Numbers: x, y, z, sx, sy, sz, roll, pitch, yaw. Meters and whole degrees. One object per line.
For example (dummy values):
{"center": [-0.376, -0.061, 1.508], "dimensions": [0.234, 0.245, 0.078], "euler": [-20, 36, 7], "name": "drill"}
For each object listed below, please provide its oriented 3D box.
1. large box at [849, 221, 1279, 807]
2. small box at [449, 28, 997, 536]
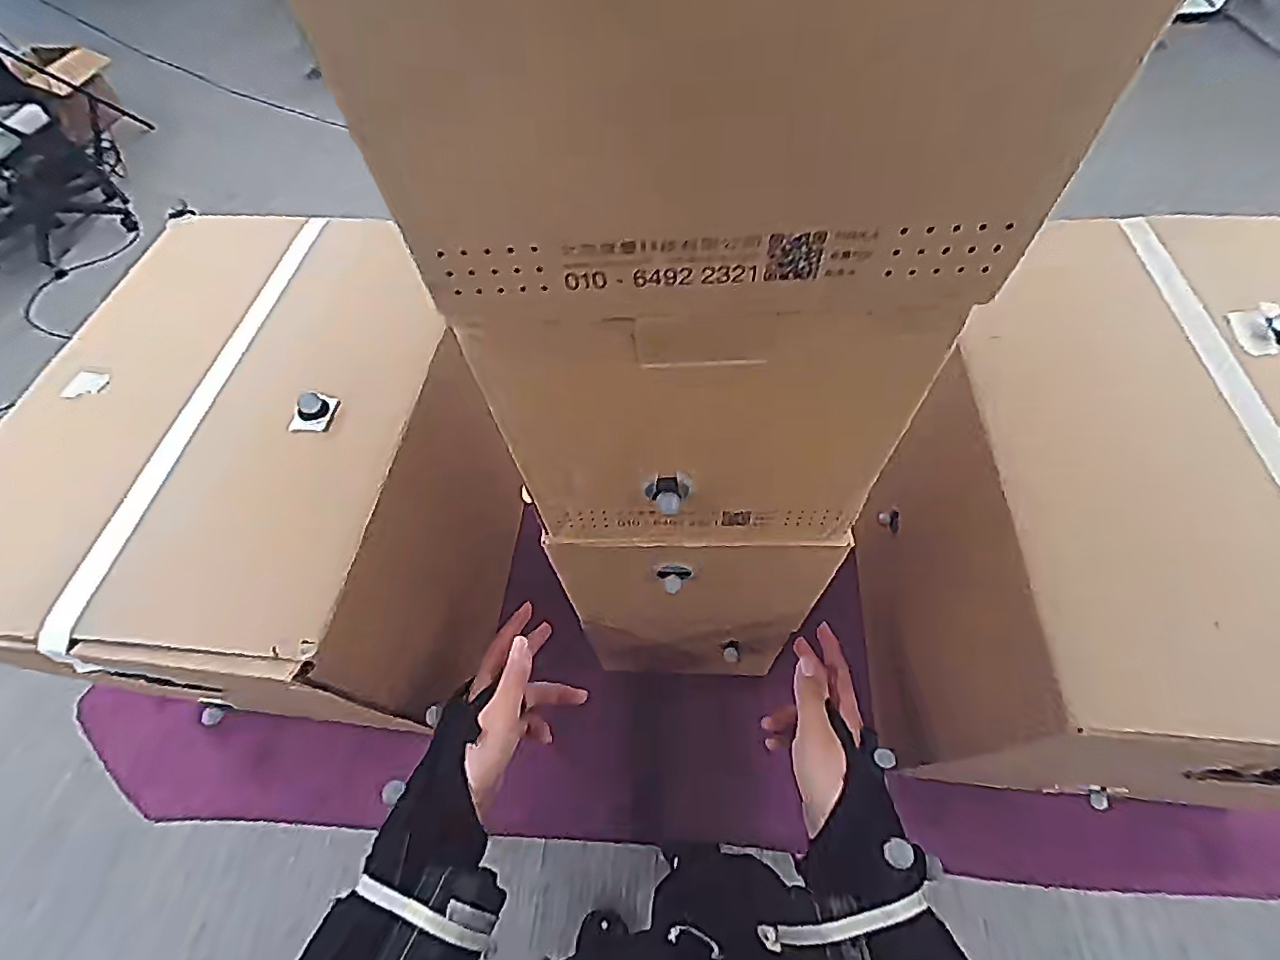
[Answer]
{"center": [0.386, 0.038, 0.470], "dimensions": [0.320, 0.320, 0.408], "euler": [3, 58, 6], "name": "large box"}
{"center": [0.028, -0.087, 0.272], "dimensions": [0.168, 0.176, 0.179], "euler": [-1, 59, 3], "name": "small box"}
